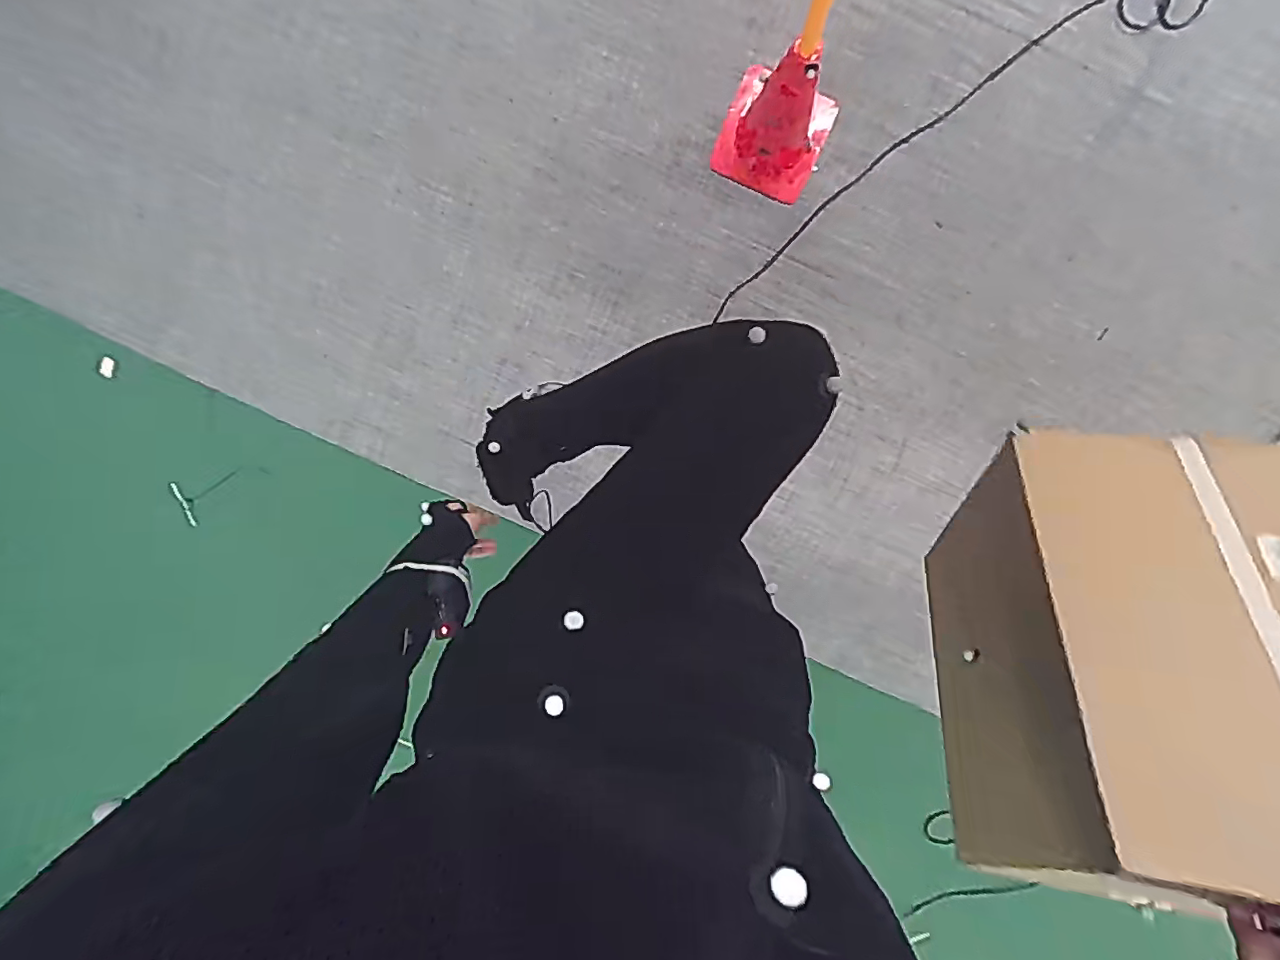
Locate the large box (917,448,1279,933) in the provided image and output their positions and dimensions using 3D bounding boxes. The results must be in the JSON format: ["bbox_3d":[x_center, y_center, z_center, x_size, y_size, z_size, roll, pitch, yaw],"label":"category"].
[{"bbox_3d":[0.530,0.225,0.596,0.320,0.408,0.320,7,146,10],"label":"large box"}]
